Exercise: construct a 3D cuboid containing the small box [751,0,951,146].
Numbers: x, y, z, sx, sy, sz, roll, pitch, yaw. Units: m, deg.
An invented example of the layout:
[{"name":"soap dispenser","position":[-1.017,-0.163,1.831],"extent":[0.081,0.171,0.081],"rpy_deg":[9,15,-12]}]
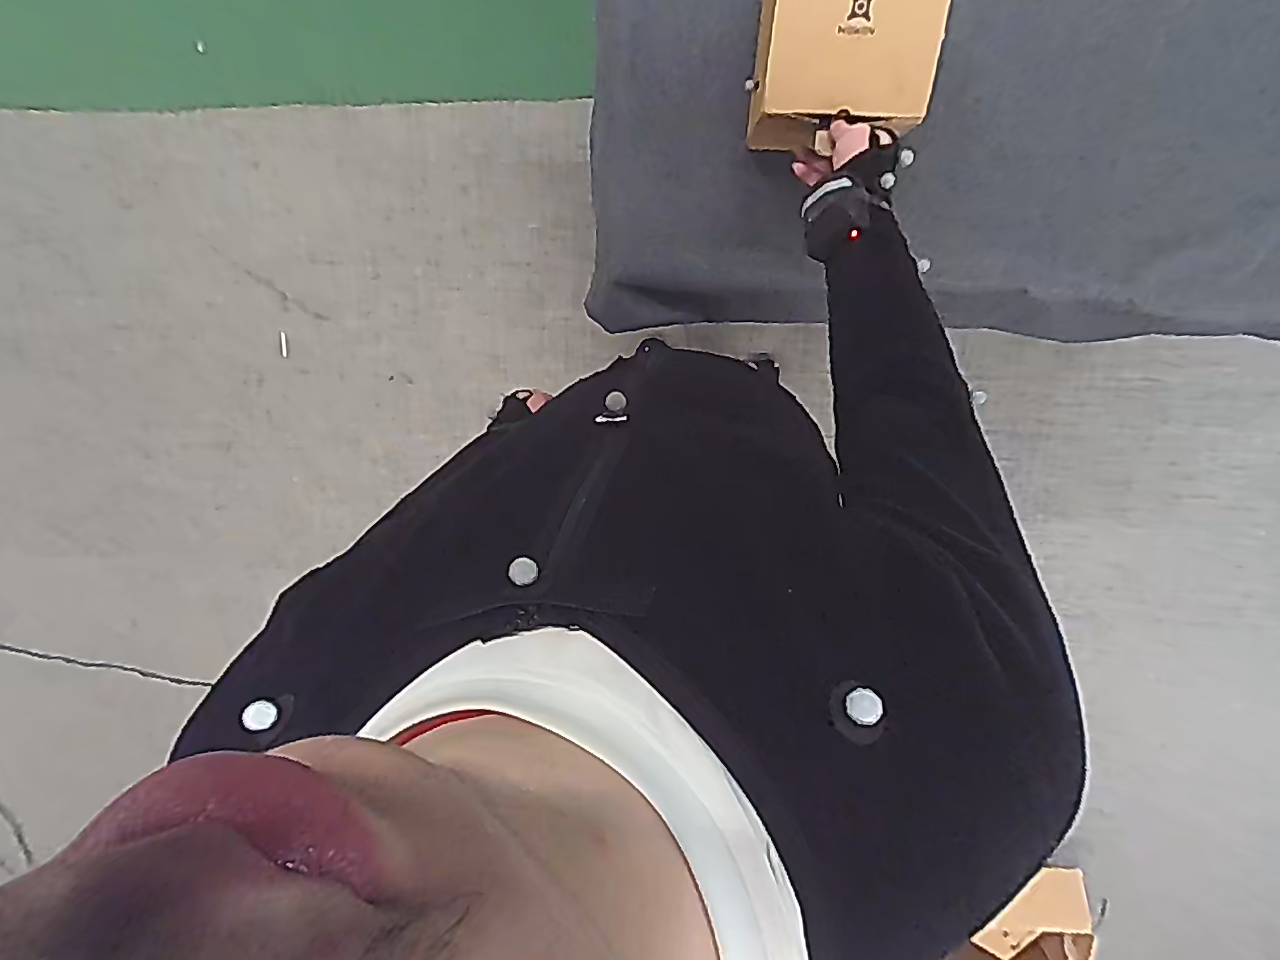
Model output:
[{"name":"small box","position":[0.221,-0.484,0.595],"extent":[0.168,0.176,0.179],"rpy_deg":[4,112,2]}]
